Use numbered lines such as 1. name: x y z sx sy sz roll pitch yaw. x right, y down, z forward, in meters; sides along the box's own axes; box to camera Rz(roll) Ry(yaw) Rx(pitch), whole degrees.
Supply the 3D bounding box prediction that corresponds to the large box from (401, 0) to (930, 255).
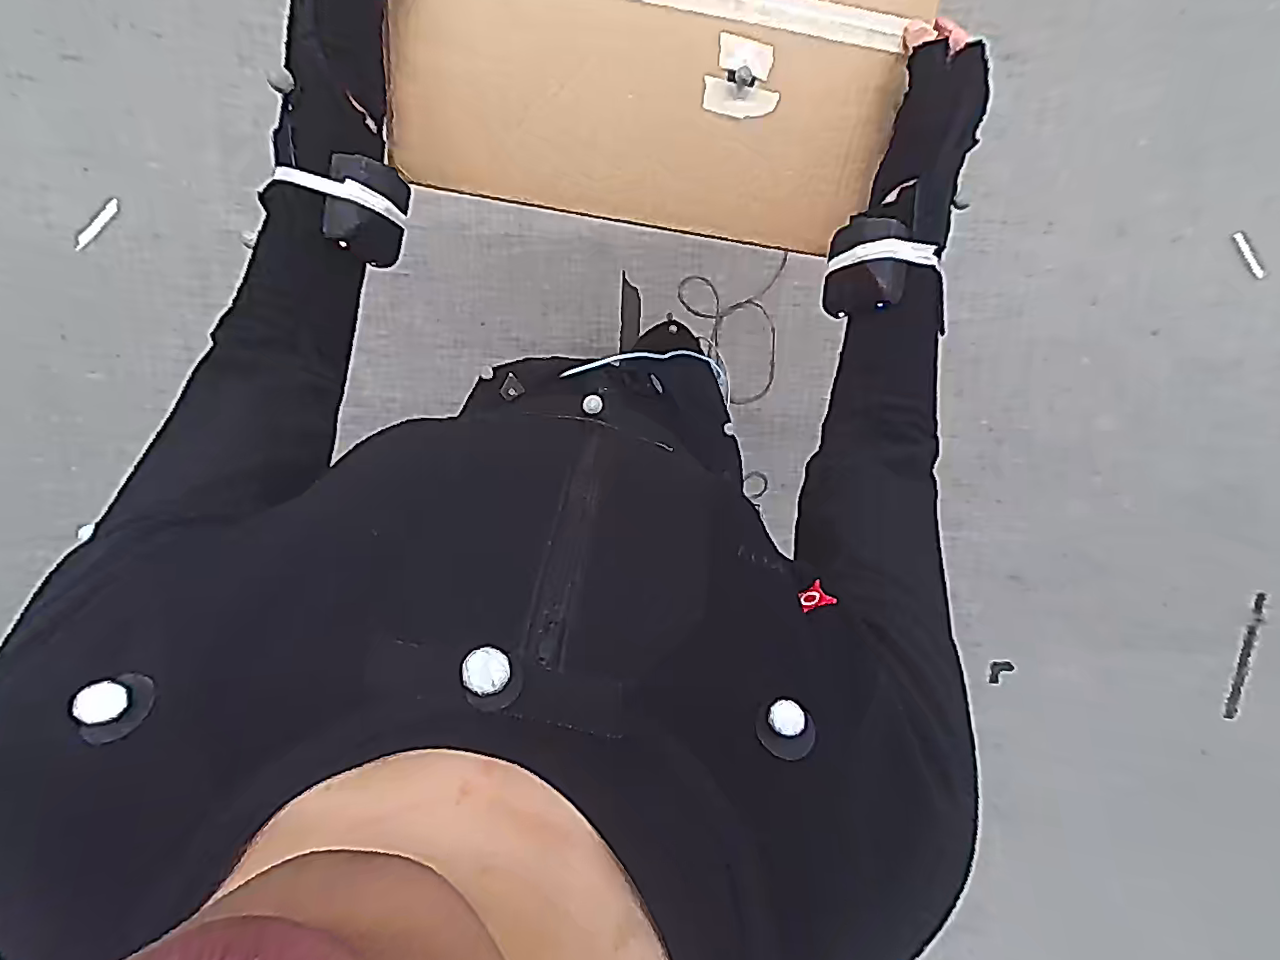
1. large box: 0.014 -0.430 0.541 0.408 0.320 0.320 7 118 -7
